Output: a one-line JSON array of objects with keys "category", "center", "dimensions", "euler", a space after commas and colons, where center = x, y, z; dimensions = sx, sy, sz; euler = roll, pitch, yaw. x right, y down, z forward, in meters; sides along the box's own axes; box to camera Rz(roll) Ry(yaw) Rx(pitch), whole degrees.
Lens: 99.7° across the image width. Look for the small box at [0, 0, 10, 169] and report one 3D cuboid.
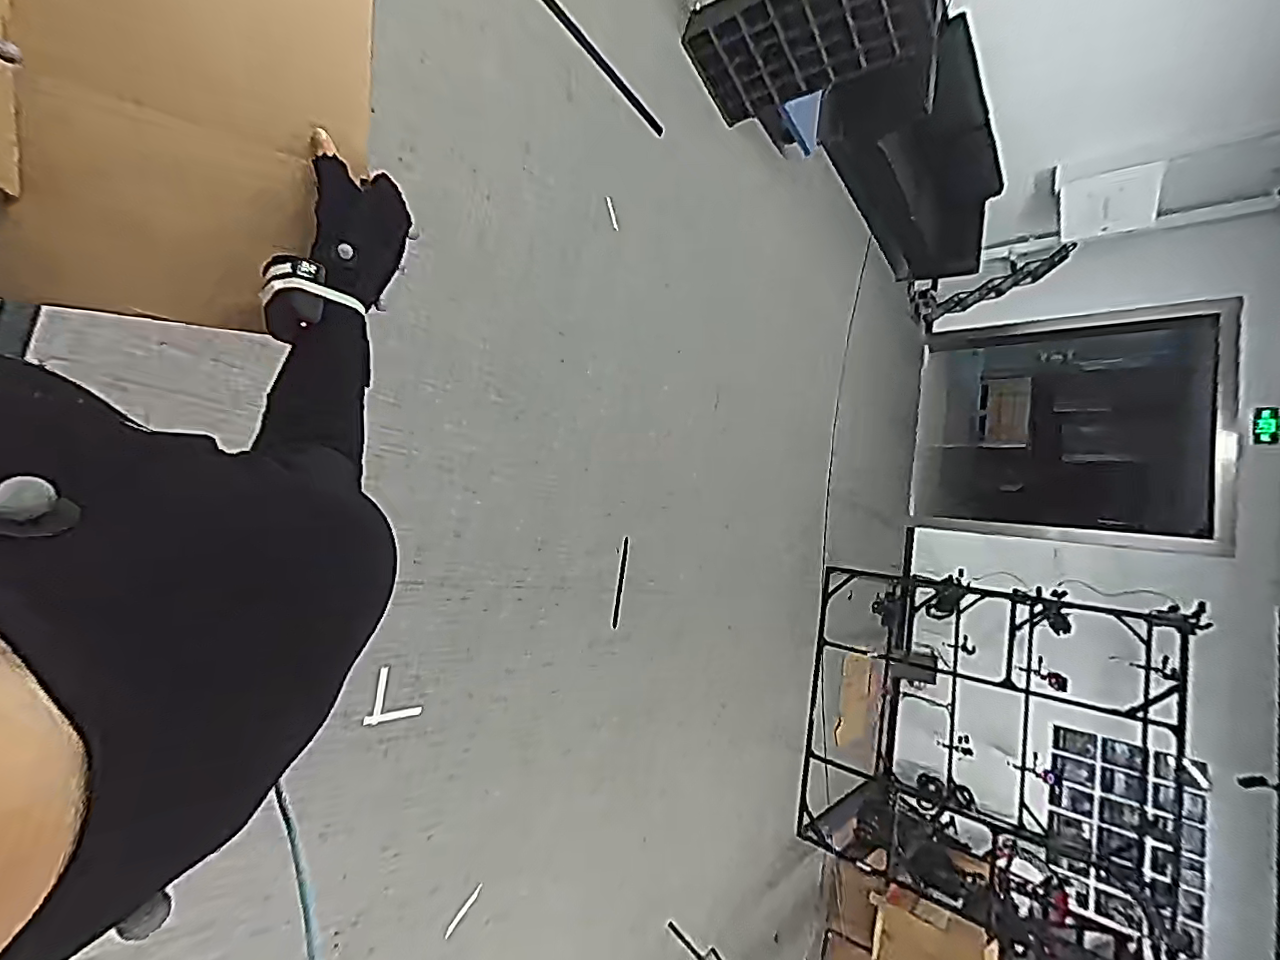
[{"category": "small box", "center": [-0.456, -0.270, 0.267], "dimensions": [0.179, 0.176, 0.168], "euler": [0, 104, -41]}]
